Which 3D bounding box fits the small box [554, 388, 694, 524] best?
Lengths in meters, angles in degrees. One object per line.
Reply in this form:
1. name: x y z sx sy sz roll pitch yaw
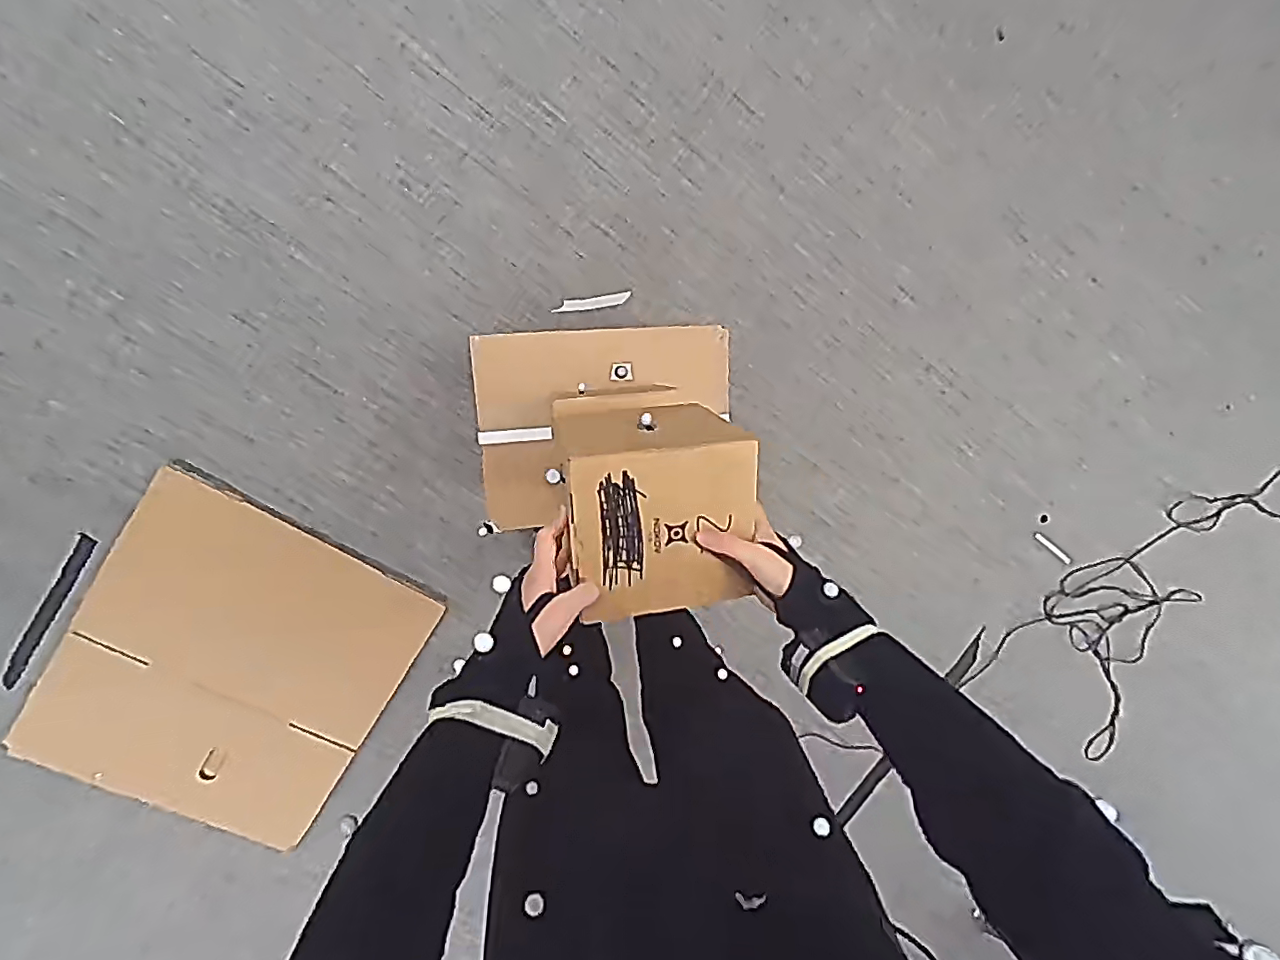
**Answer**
1. small box: -0.029 -0.045 0.792 0.179 0.176 0.168 -7 103 -9
